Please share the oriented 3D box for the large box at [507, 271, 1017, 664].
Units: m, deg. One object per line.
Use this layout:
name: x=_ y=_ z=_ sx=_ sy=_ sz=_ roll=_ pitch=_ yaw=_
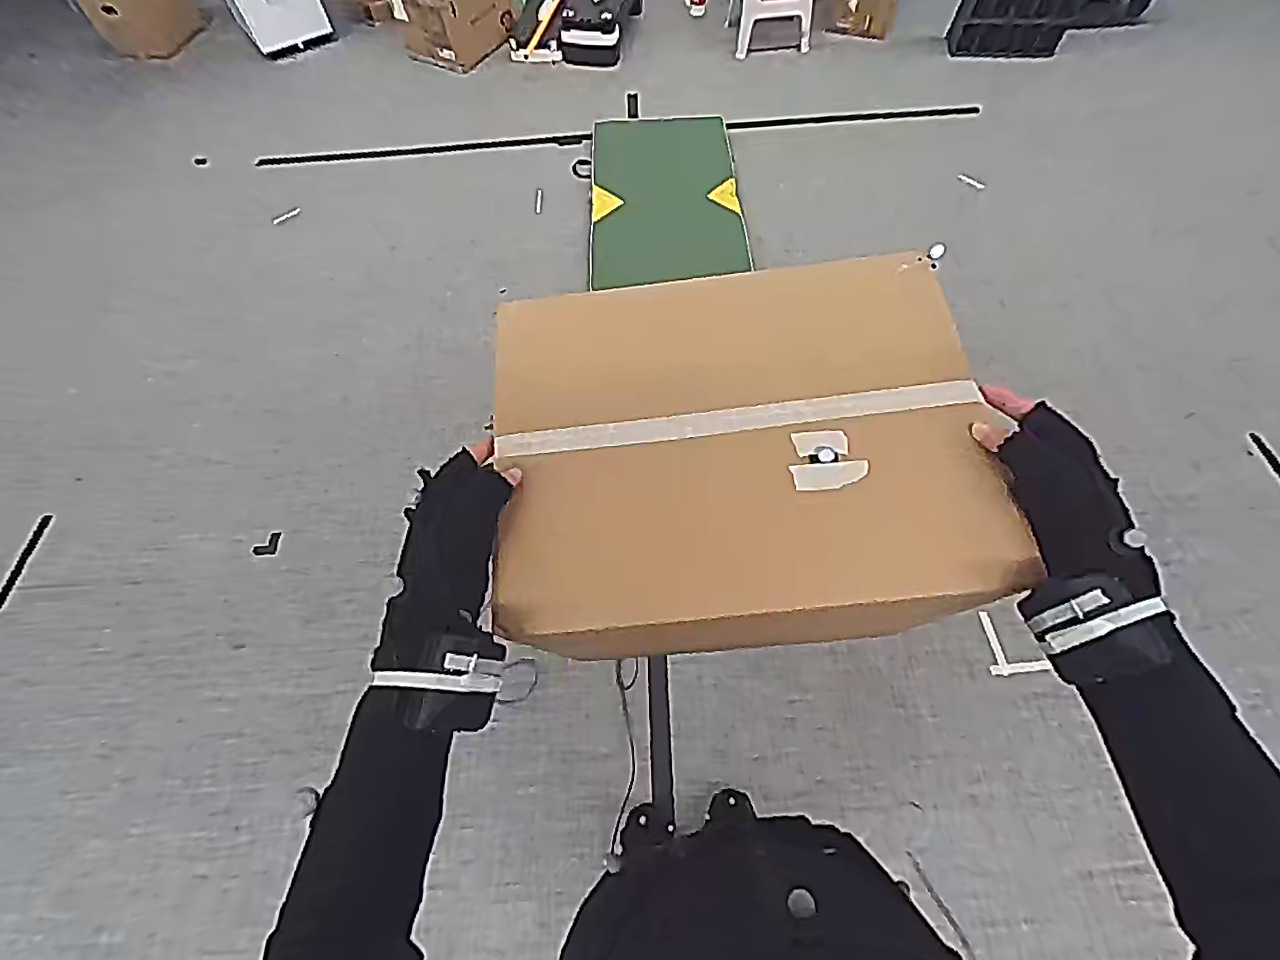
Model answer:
large box: x=0.088 y=0.016 z=0.611 sx=0.408 sy=0.320 sz=0.320 roll=-6 pitch=68 yaw=2
